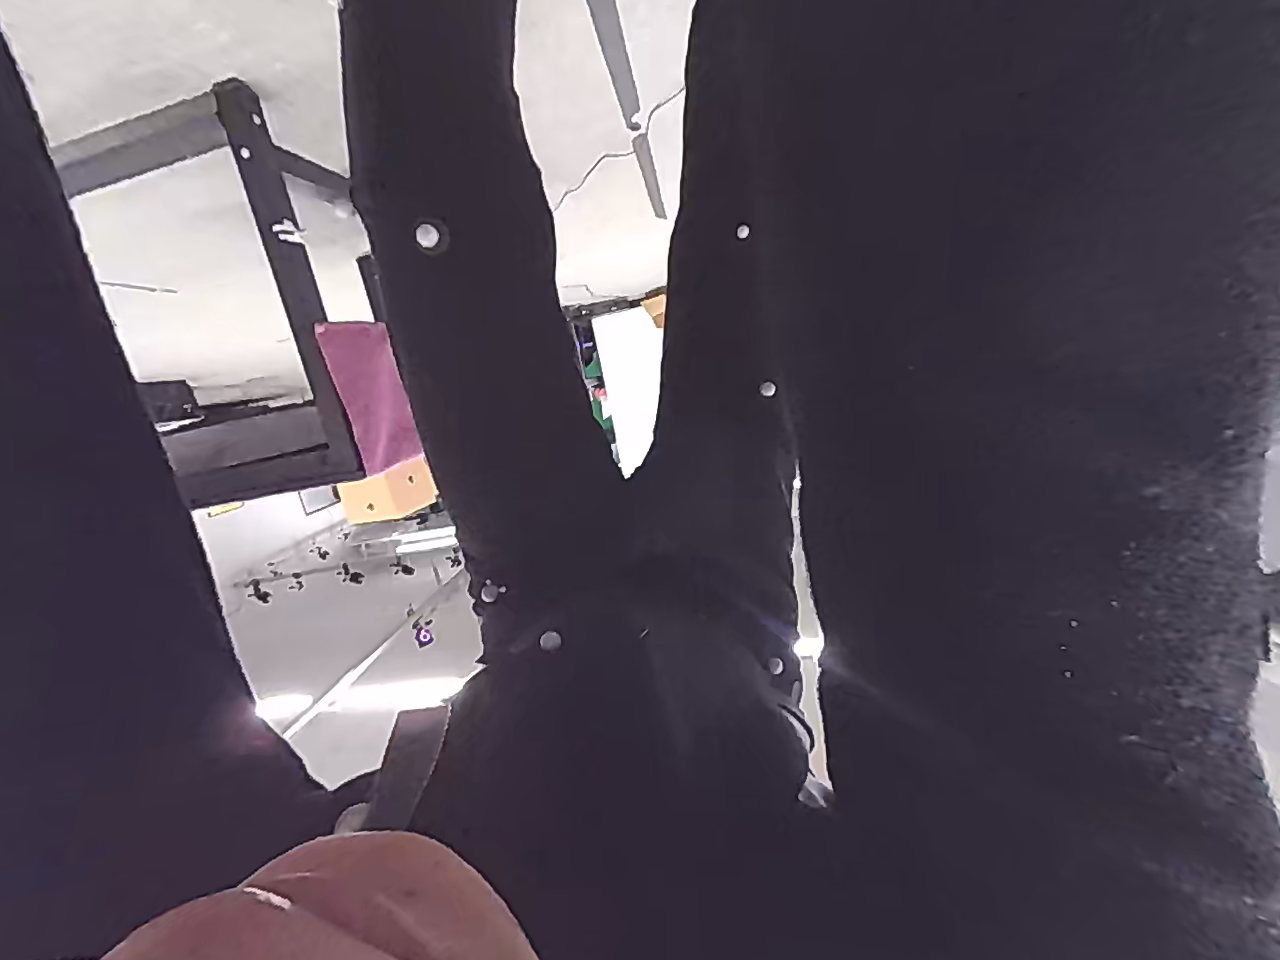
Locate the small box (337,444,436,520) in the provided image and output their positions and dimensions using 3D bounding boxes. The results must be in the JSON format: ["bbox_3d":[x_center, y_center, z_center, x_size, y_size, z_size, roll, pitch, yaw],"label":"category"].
[{"bbox_3d":[-0.722,-0.002,1.540,0.179,0.176,0.168,-8,-167,19],"label":"small box"}]
